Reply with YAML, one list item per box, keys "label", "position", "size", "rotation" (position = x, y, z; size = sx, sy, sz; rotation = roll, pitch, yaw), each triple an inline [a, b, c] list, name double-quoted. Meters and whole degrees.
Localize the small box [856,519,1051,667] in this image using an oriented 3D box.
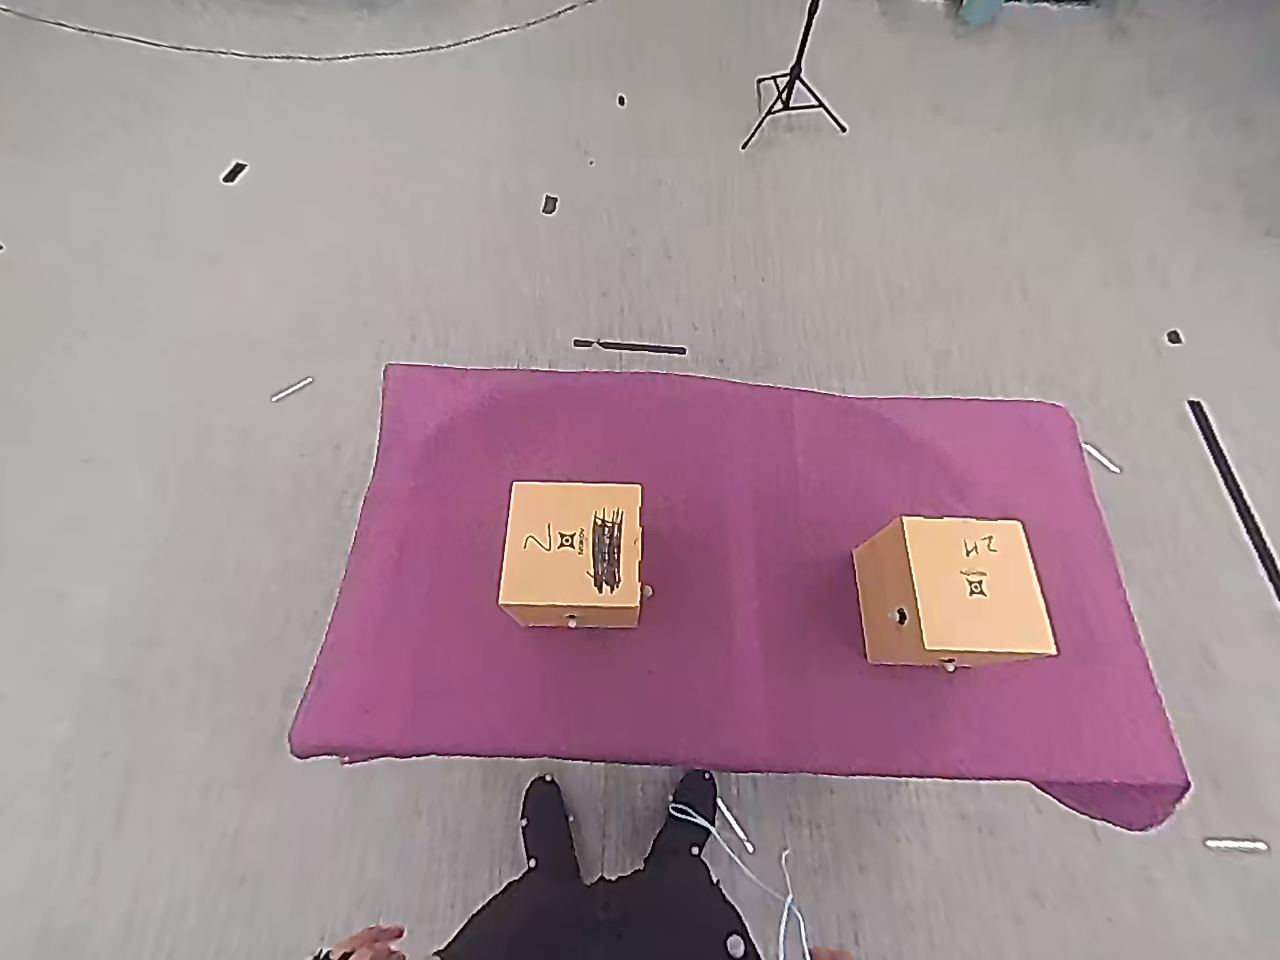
- label: "small box"
  position: [0.426, 0.167, 0.769]
  size: [0.168, 0.176, 0.179]
  rotation: [3, 66, -1]
